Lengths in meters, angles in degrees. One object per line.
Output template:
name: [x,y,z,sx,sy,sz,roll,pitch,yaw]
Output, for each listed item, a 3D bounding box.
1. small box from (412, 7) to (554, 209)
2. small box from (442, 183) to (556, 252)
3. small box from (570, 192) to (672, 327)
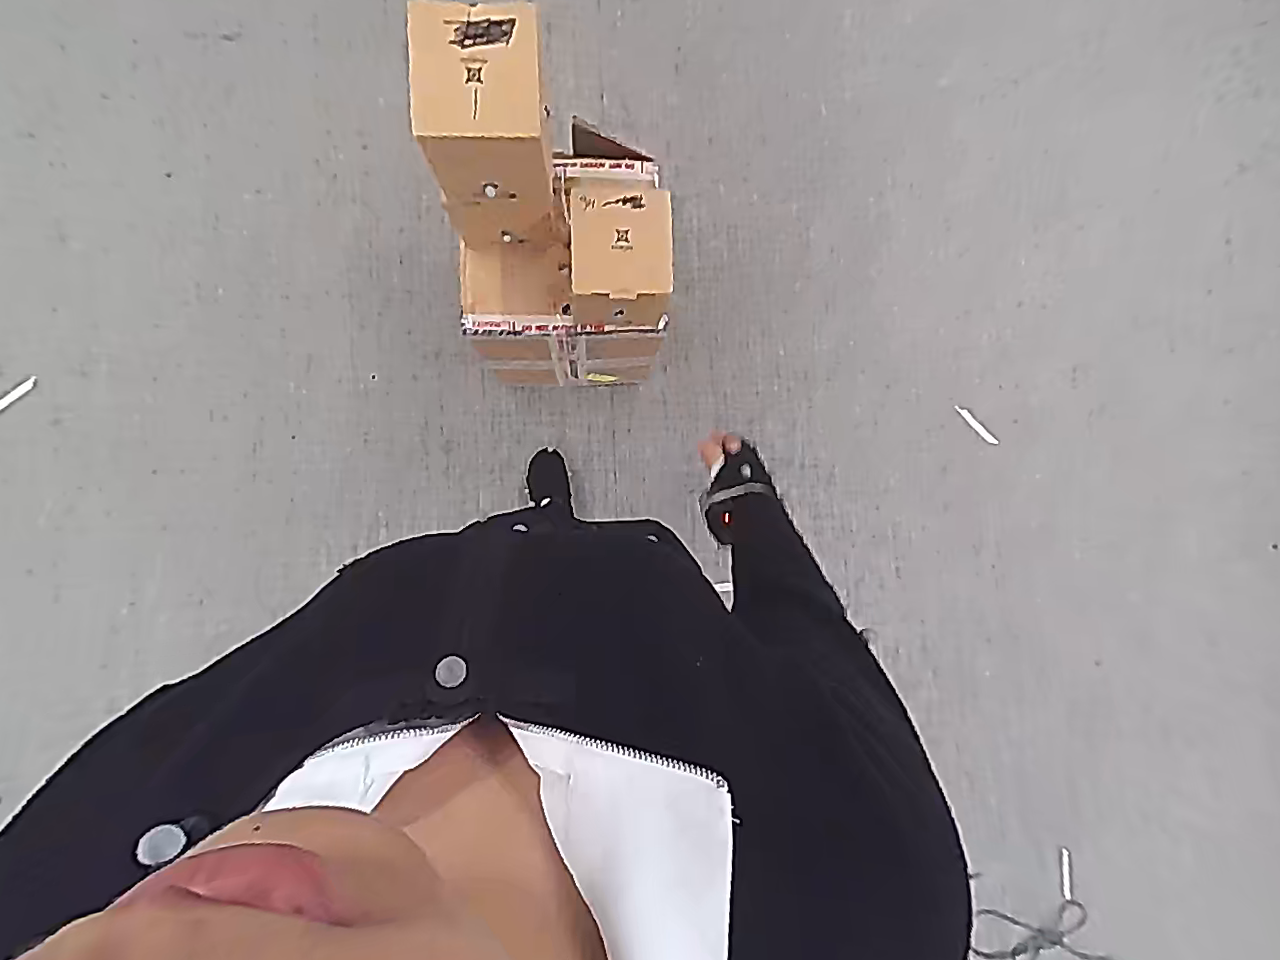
small box: [-0.214,-0.517,0.774,0.168,0.176,0.179,-2,90,-3]
small box: [-0.240,-0.519,0.937,0.168,0.176,0.179,-5,90,-3]
small box: [-0.037,-0.375,0.951,0.168,0.176,0.179,-2,90,-7]
